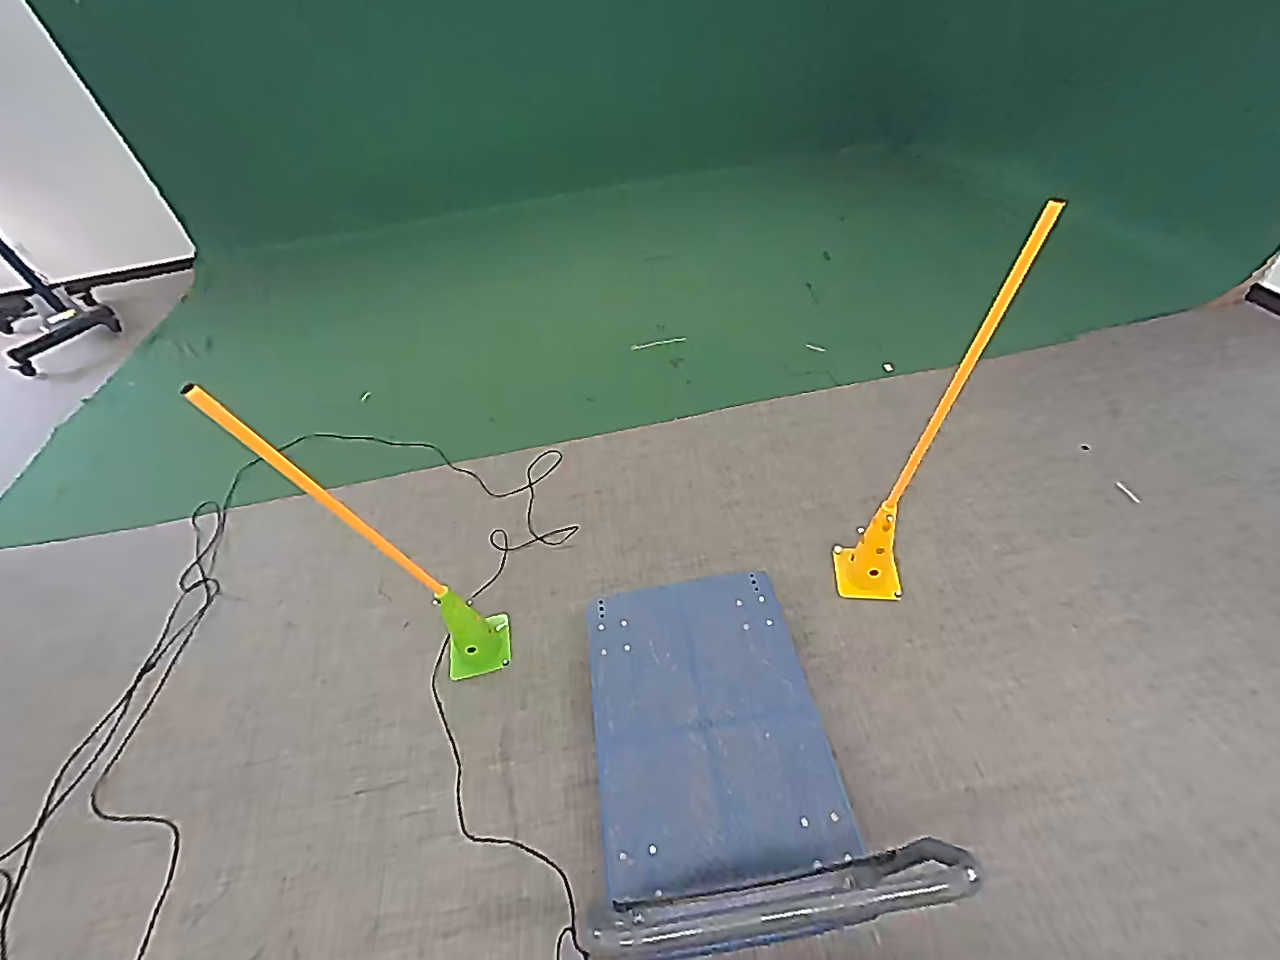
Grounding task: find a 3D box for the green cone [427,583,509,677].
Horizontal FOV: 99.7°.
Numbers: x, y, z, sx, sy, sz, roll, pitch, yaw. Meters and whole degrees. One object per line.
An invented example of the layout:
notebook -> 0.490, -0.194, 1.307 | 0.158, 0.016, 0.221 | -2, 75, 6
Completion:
green cone -> -0.564, 0.427, 1.680 | 0.202, 0.368, 0.200 | -15, 46, -4
